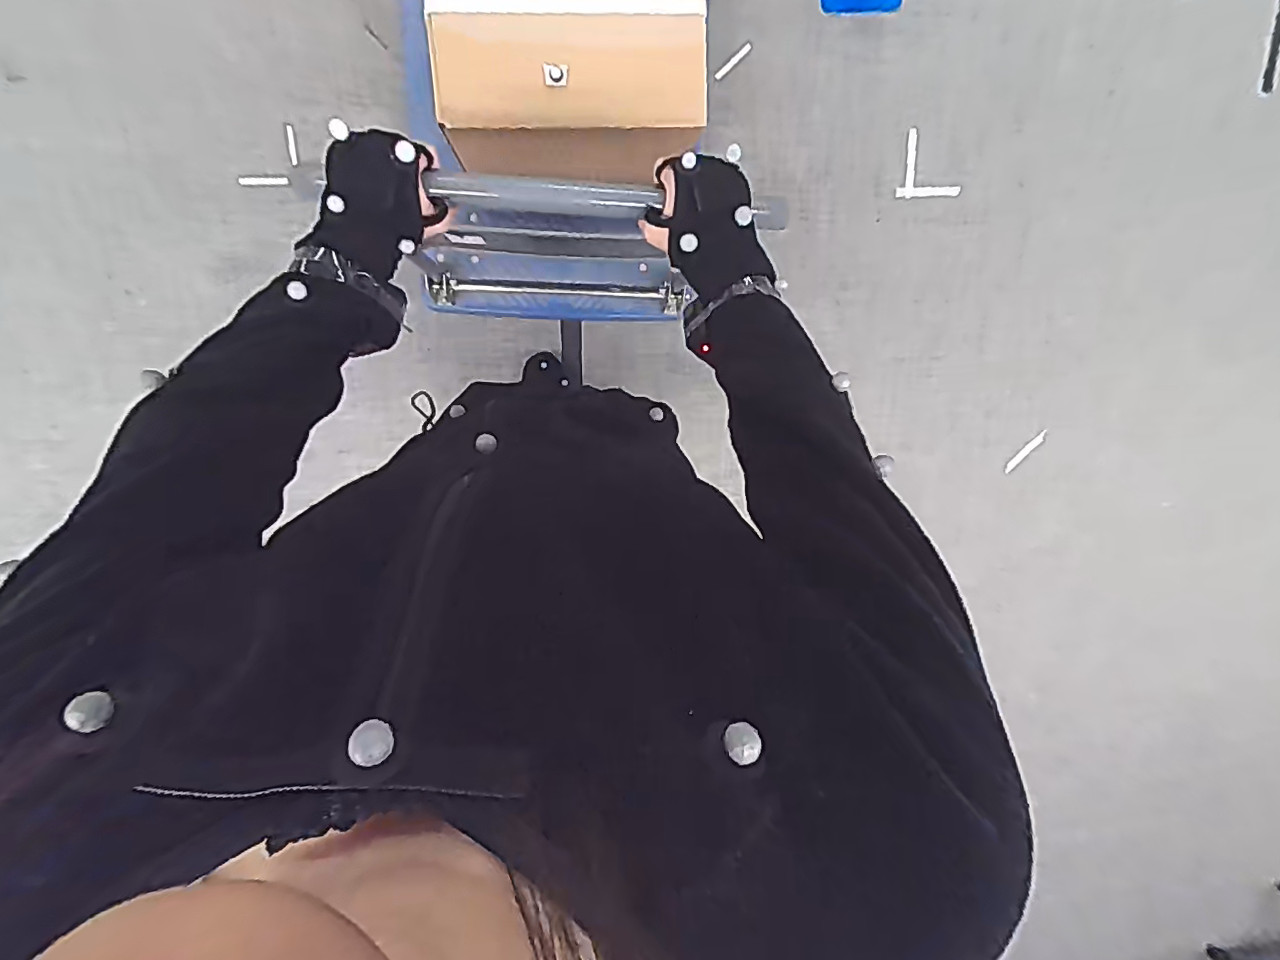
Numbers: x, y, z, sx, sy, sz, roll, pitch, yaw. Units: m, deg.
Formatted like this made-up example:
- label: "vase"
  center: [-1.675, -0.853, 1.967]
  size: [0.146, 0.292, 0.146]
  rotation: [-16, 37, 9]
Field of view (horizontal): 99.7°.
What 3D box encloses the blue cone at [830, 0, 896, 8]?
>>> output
- label: "blue cone"
  center: [0.538, -1.162, 1.084]
  size: [0.193, 0.380, 0.192]
  rotation: [-6, 103, -6]
